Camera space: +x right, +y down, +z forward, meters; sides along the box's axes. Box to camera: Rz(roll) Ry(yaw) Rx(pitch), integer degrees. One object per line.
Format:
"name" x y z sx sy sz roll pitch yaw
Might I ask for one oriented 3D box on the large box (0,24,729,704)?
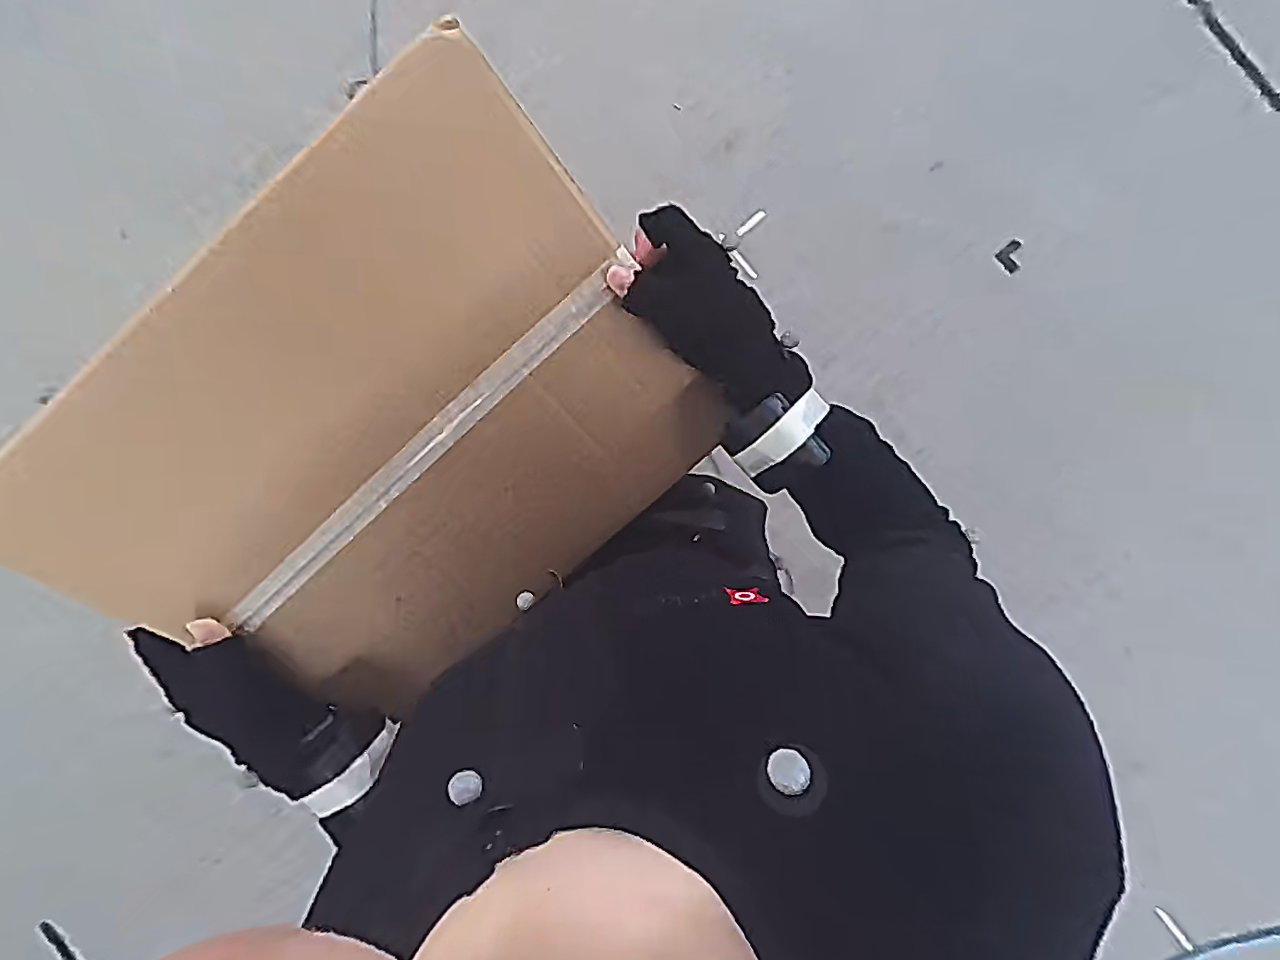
"large box" -0.204 -0.086 0.512 0.408 0.320 0.320 -42 122 5
